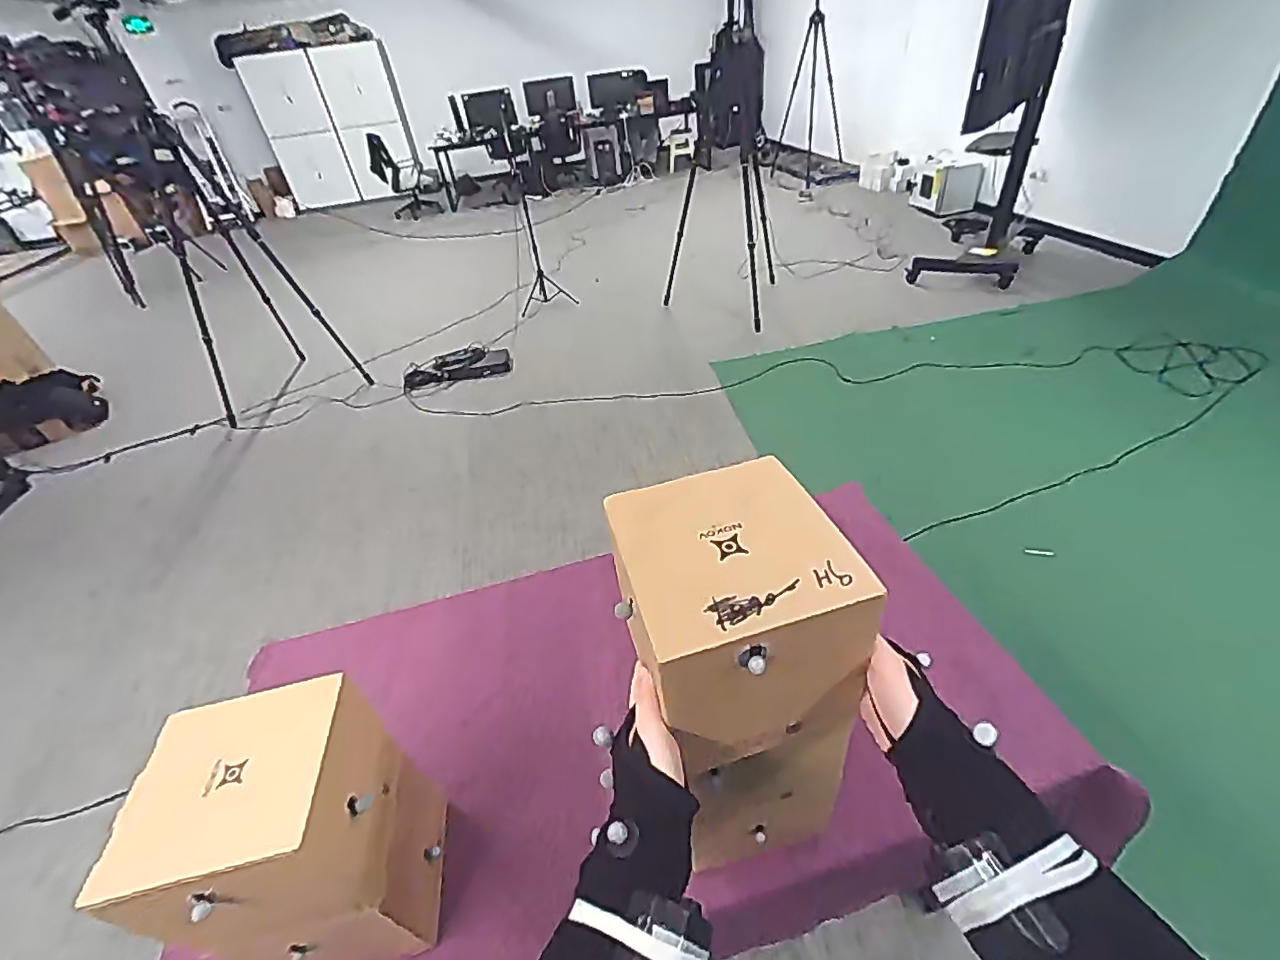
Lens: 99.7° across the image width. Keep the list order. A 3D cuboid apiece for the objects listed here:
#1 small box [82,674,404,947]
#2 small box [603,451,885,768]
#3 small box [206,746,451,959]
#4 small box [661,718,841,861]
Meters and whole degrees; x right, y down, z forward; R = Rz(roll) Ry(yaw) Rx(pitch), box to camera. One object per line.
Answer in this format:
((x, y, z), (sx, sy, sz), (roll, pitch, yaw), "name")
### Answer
((-0.360, 0.328, 0.540), (0.179, 0.176, 0.168), (-14, 40, -4), "small box")
((0.076, 0.105, 0.465), (0.168, 0.176, 0.179), (-16, 39, -7), "small box")
((-0.345, 0.454, 0.643), (0.179, 0.176, 0.168), (-12, 40, -5), "small box")
((0.128, 0.347, 0.685), (0.179, 0.176, 0.168), (-14, 39, -4), "small box")
